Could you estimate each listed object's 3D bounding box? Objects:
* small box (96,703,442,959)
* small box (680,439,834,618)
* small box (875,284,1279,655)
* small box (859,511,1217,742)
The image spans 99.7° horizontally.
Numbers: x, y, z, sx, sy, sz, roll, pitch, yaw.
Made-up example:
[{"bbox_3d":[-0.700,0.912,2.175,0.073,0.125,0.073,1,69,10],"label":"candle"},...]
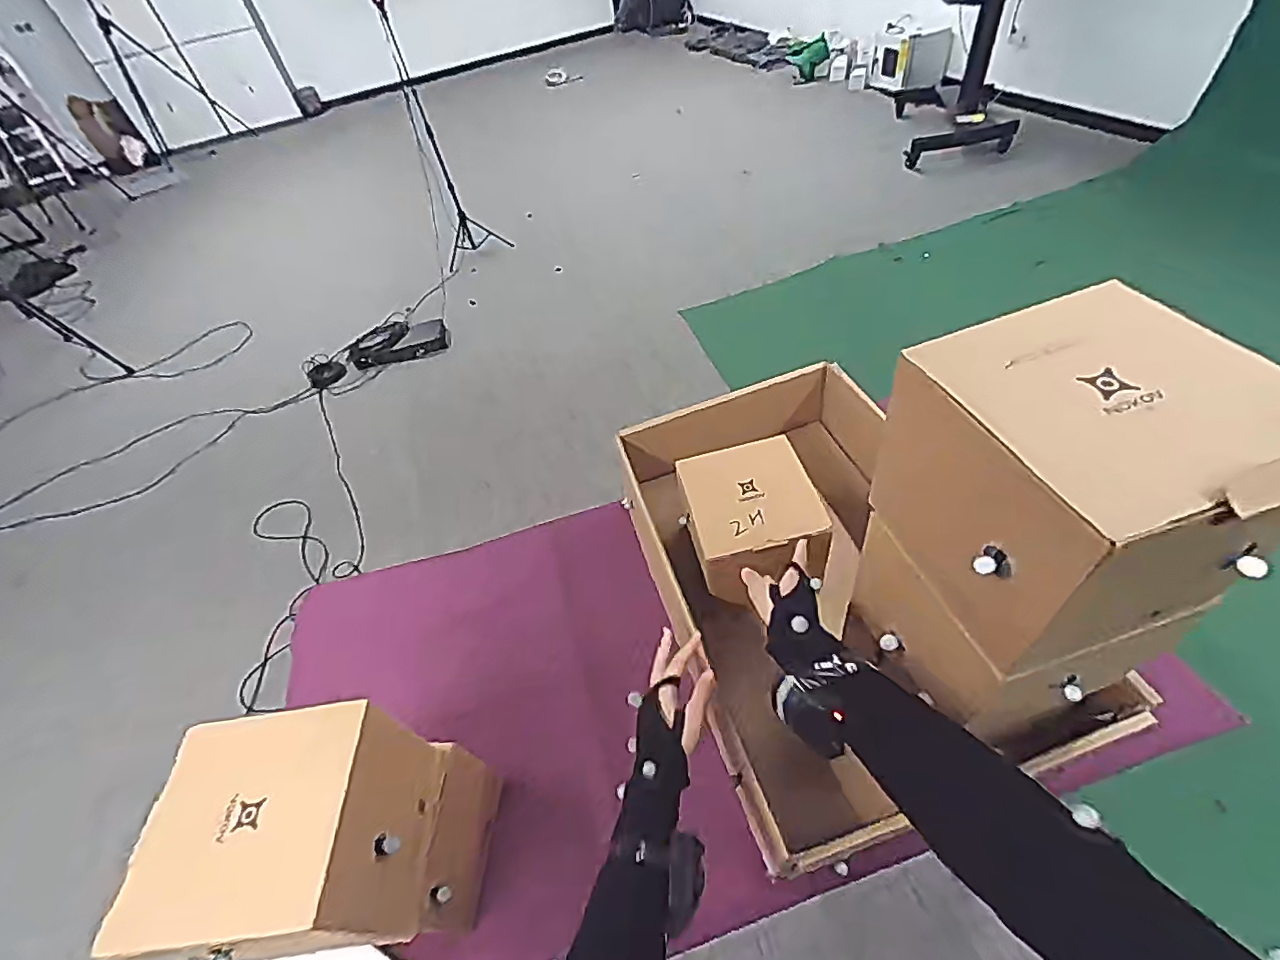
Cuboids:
[{"bbox_3d":[-0.307,0.327,0.501,0.179,0.176,0.168,-11,48,4],"label":"small box"},{"bbox_3d":[0.160,0.073,0.784,0.168,0.176,0.179,-14,49,0],"label":"small box"},{"bbox_3d":[0.291,0.000,0.376,0.168,0.176,0.179,-18,47,-3],"label":"small box"},{"bbox_3d":[0.324,0.110,0.492,0.179,0.176,0.168,-19,47,-2],"label":"small box"}]
